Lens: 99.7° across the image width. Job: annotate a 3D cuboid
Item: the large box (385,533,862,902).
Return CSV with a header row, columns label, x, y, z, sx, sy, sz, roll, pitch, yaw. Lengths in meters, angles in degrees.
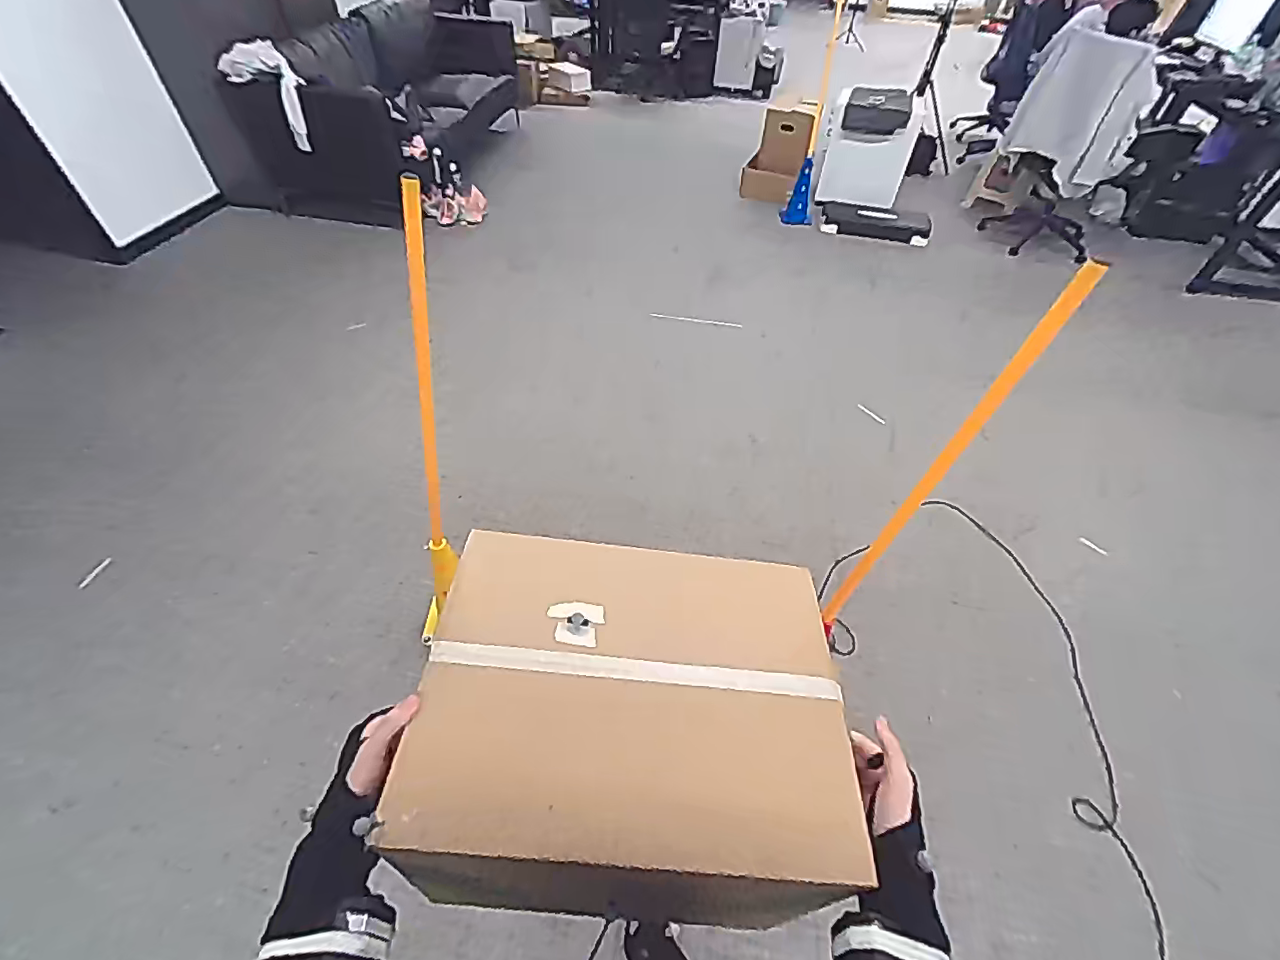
label,x,y,z,sx,sy,sz,roll,pitch,yaw
large box,-0.018,0.293,0.651,0.408,0.320,0.320,7,45,-3
